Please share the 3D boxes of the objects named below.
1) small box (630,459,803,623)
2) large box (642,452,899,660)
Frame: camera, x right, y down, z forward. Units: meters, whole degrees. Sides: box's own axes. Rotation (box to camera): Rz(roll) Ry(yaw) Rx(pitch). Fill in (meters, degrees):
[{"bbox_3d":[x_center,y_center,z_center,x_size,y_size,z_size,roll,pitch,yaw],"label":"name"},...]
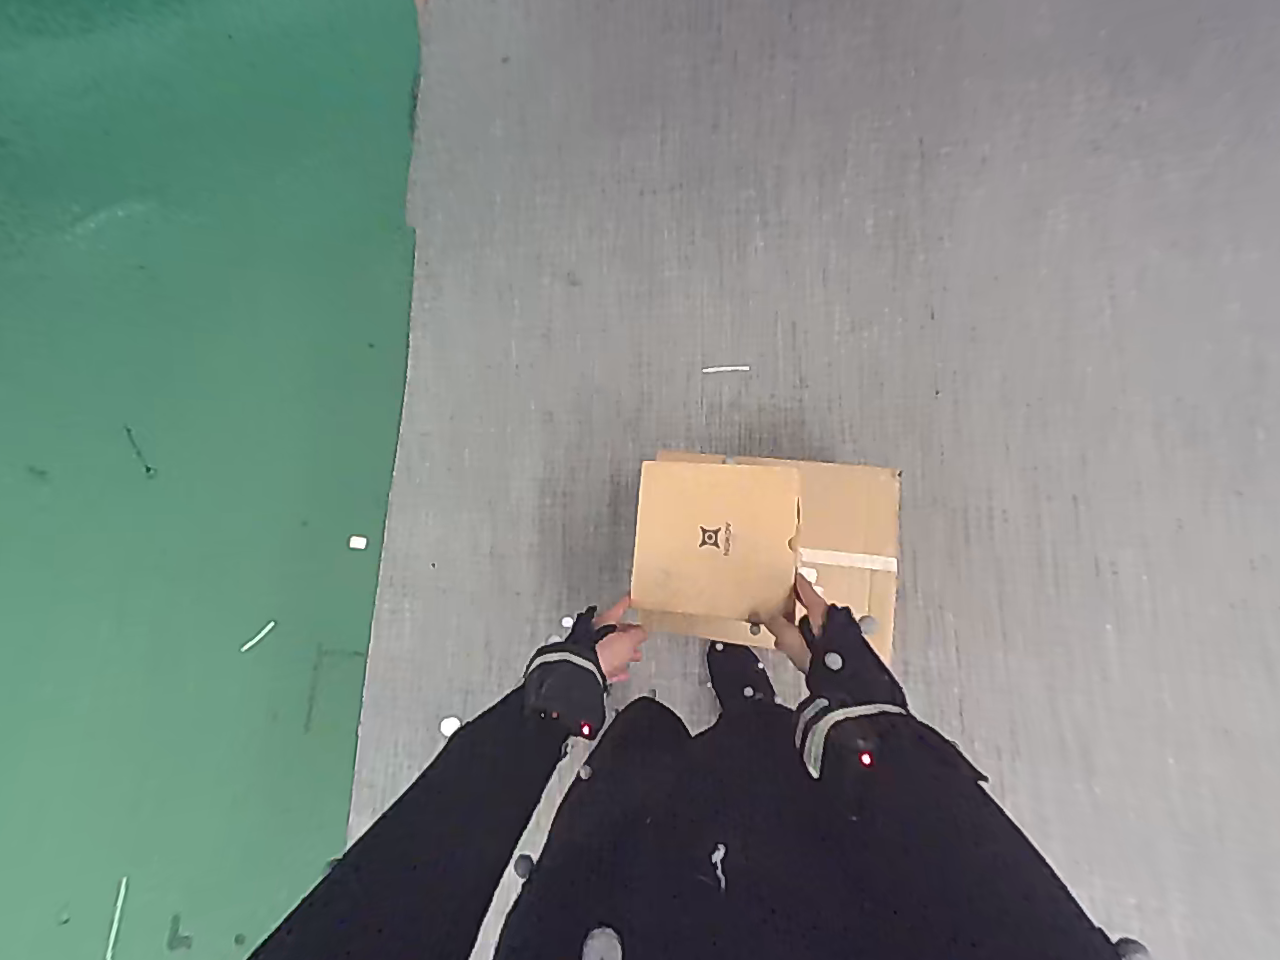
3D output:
[{"bbox_3d":[0.097,0.077,0.654,0.179,0.176,0.168,3,79,12],"label":"small box"},{"bbox_3d":[0.238,0.141,1.036,0.408,0.320,0.320,5,81,12],"label":"large box"}]
